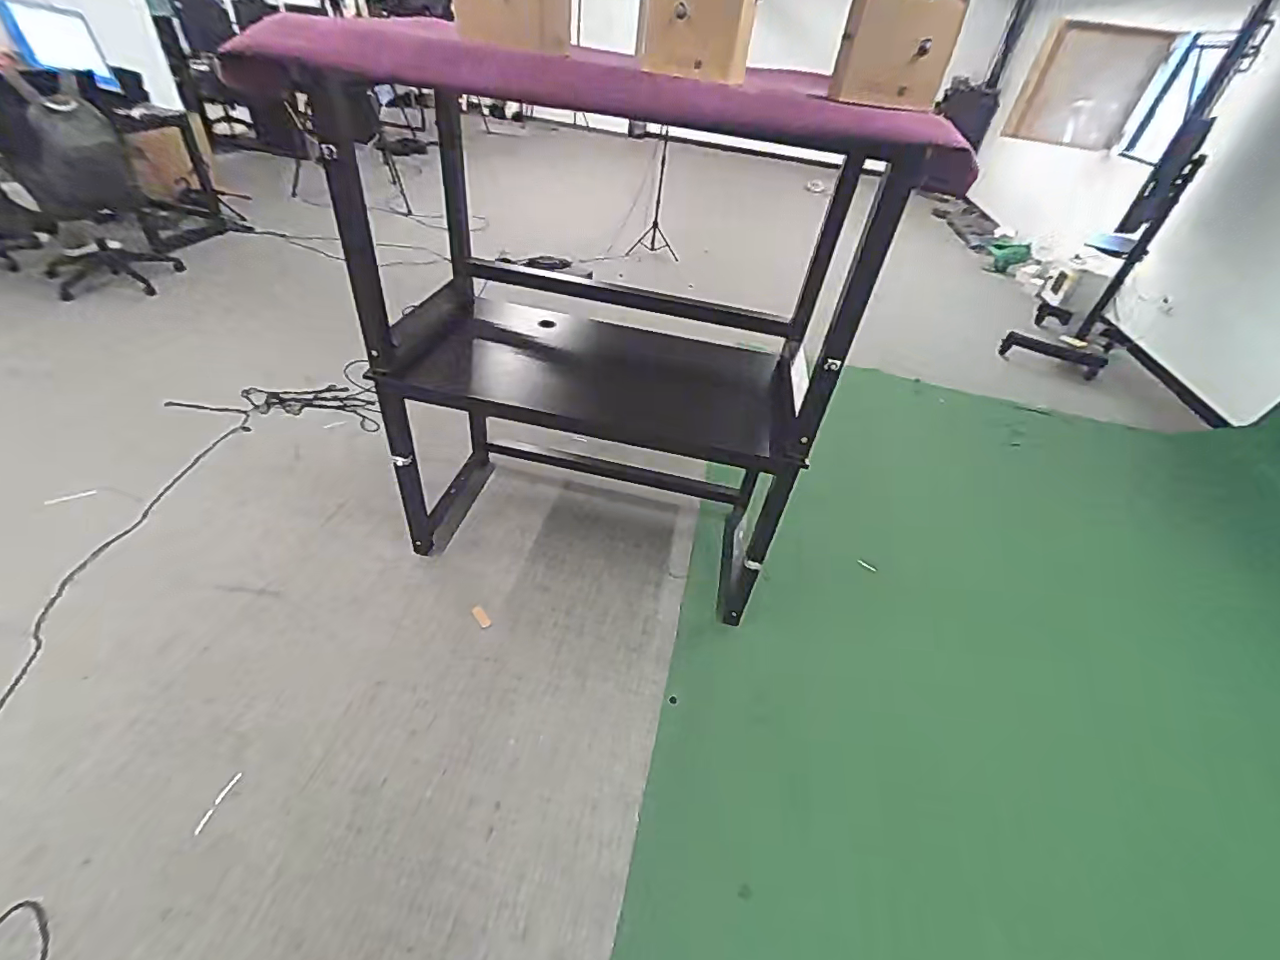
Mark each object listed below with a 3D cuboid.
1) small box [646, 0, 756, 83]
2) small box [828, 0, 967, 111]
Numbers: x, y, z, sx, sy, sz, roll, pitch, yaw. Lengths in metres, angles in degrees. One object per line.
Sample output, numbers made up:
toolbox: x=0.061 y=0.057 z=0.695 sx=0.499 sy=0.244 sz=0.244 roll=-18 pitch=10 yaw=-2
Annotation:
small box: x=0.113 y=-0.836 z=0.983 sx=0.168 sy=0.176 sz=0.179 roll=16 pitch=39 yaw=8
small box: x=0.448 y=-0.771 z=0.964 sx=0.168 sy=0.176 sz=0.179 roll=11 pitch=38 yaw=3
